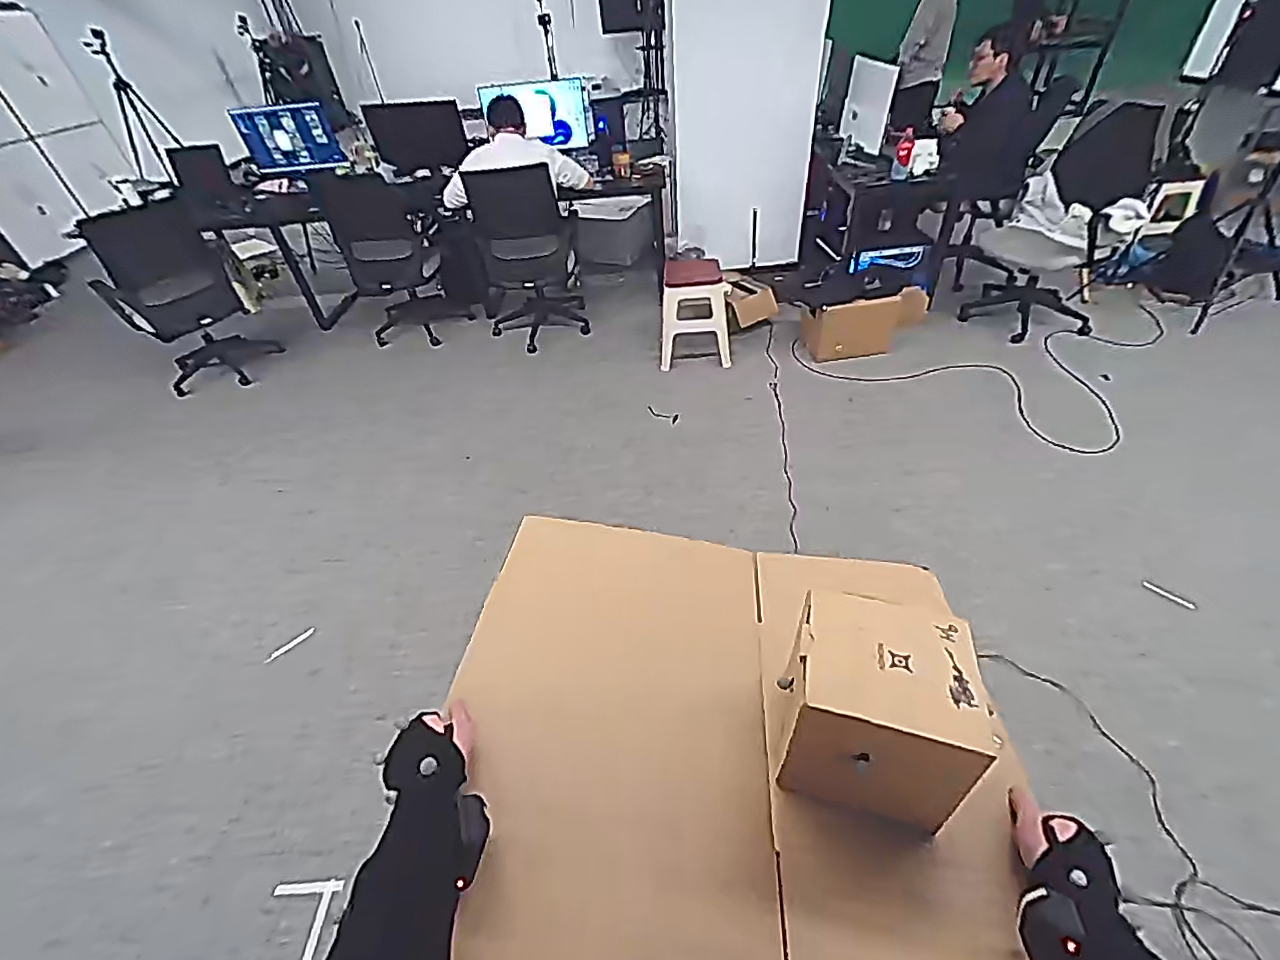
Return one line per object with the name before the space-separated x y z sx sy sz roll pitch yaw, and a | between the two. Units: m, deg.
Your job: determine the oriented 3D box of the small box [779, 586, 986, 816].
small box | 0.264 0.254 0.628 0.179 0.176 0.168 10 38 14
